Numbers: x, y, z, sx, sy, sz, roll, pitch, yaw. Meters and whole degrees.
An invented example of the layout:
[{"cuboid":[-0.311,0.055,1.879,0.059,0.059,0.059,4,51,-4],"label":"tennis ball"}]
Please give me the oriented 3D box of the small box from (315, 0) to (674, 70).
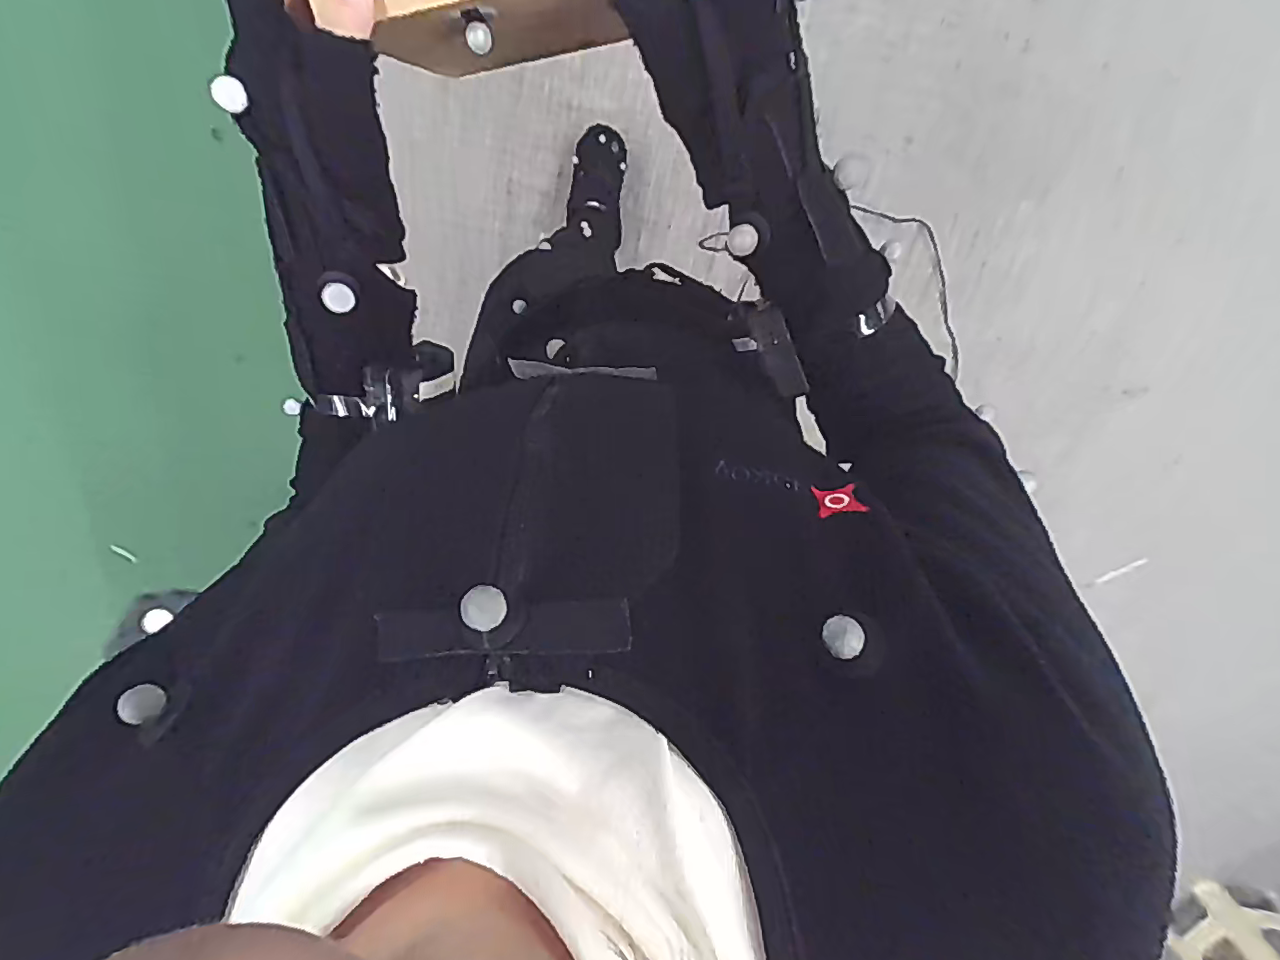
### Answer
[{"cuboid":[-0.073,-0.328,0.259,0.168,0.176,0.179,-6,121,6],"label":"small box"}]
